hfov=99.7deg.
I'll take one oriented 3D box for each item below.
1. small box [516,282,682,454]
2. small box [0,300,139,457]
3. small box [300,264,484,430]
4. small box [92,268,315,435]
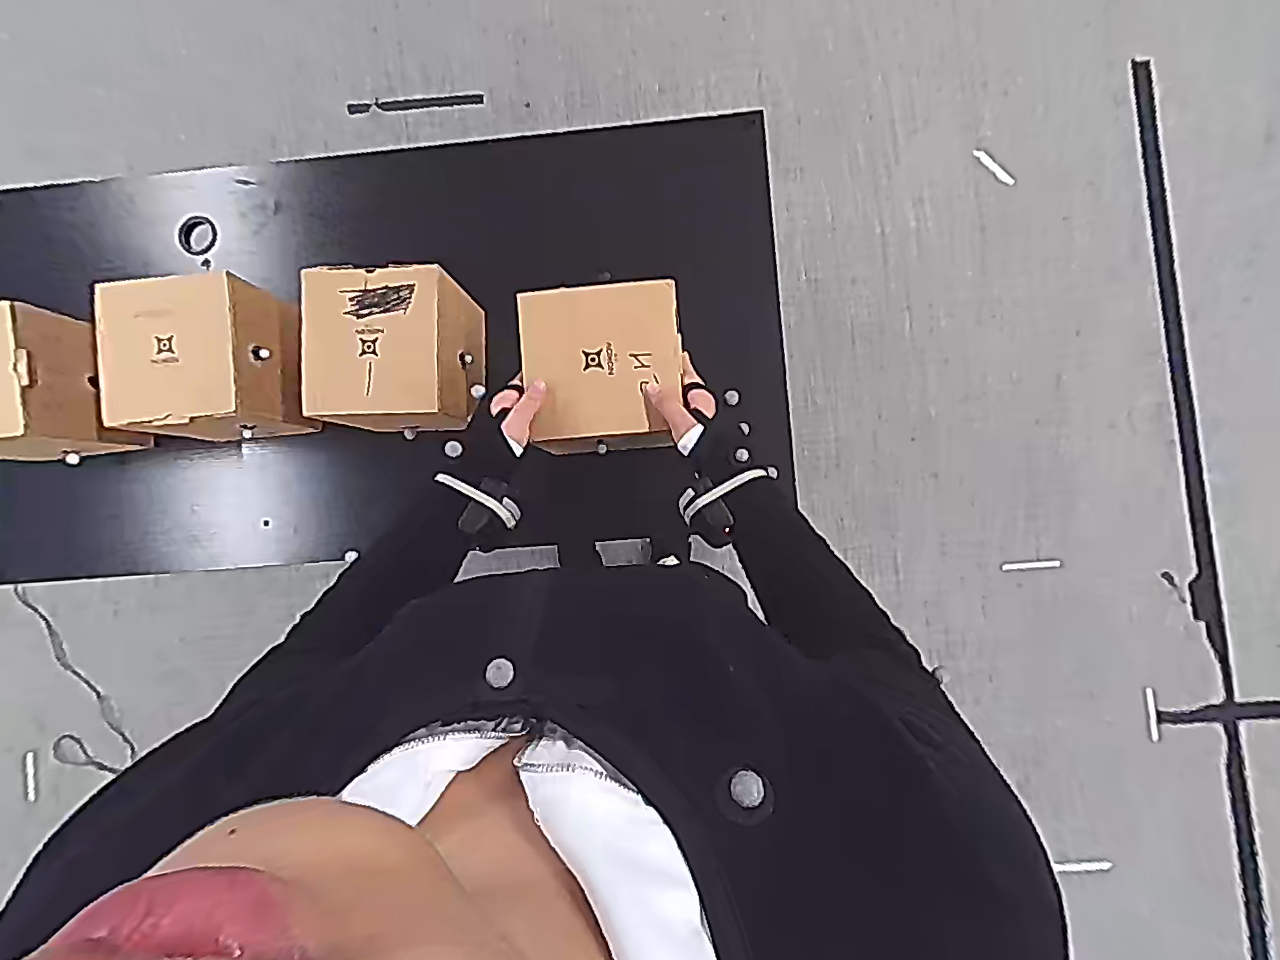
[{"bbox_3d":[-0.042,-0.125,0.668,0.179,0.176,0.168,-5,88,1],"label":"small box"},{"bbox_3d":[-0.820,-0.125,0.722,0.179,0.176,0.168,-7,88,1],"label":"small box"},{"bbox_3d":[-0.311,-0.163,0.708,0.168,0.176,0.179,-1,89,2],"label":"small box"},{"bbox_3d":[-0.560,-0.155,0.717,0.168,0.176,0.179,-5,87,1],"label":"small box"}]
